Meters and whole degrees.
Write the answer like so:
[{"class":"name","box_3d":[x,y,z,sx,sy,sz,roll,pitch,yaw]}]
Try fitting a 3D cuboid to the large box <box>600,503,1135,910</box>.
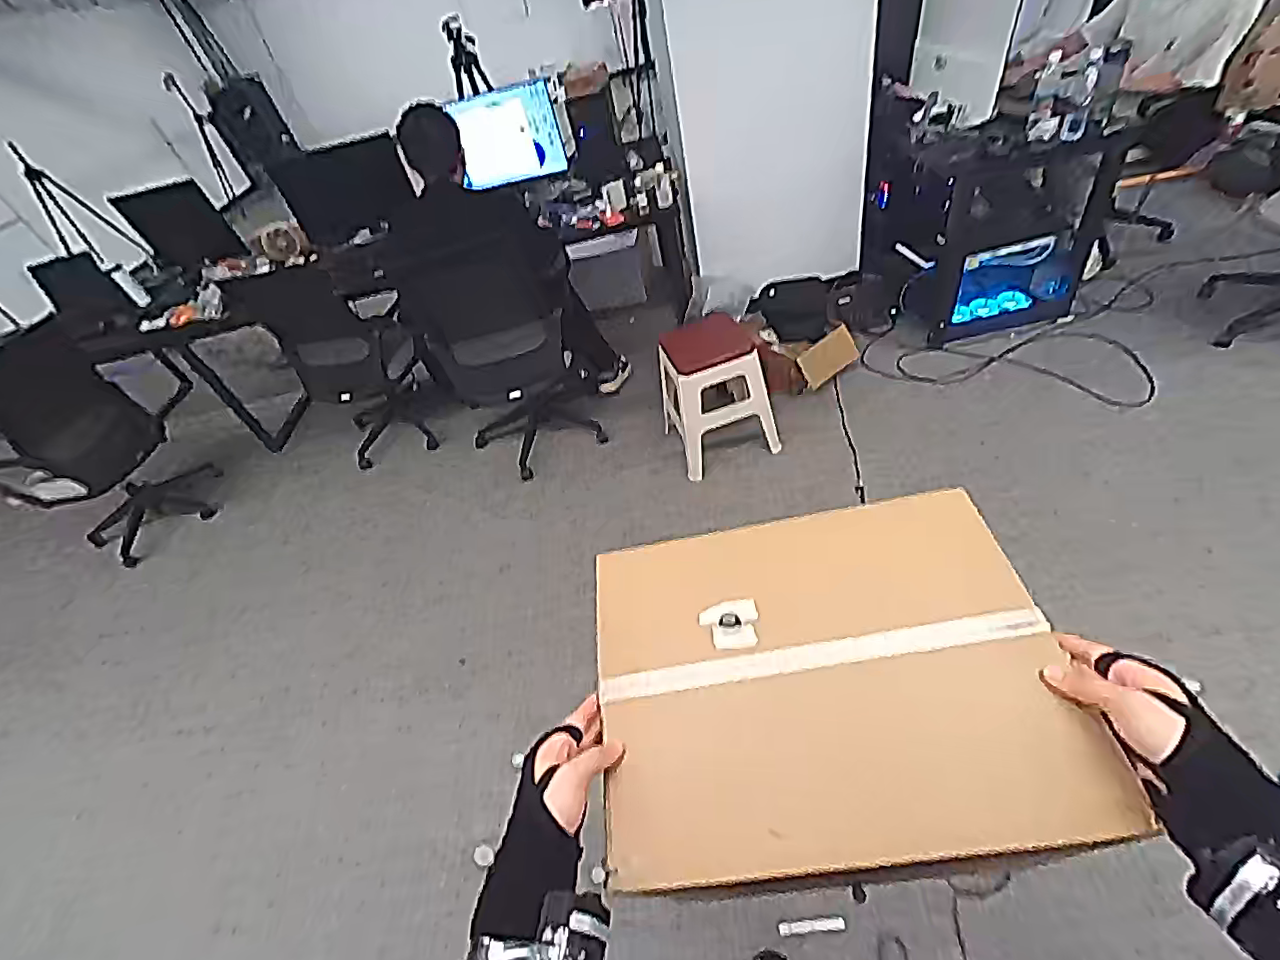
[{"class":"large box","box_3d":[0.195,0.274,0.623,0.408,0.320,0.320,-13,47,7]}]
